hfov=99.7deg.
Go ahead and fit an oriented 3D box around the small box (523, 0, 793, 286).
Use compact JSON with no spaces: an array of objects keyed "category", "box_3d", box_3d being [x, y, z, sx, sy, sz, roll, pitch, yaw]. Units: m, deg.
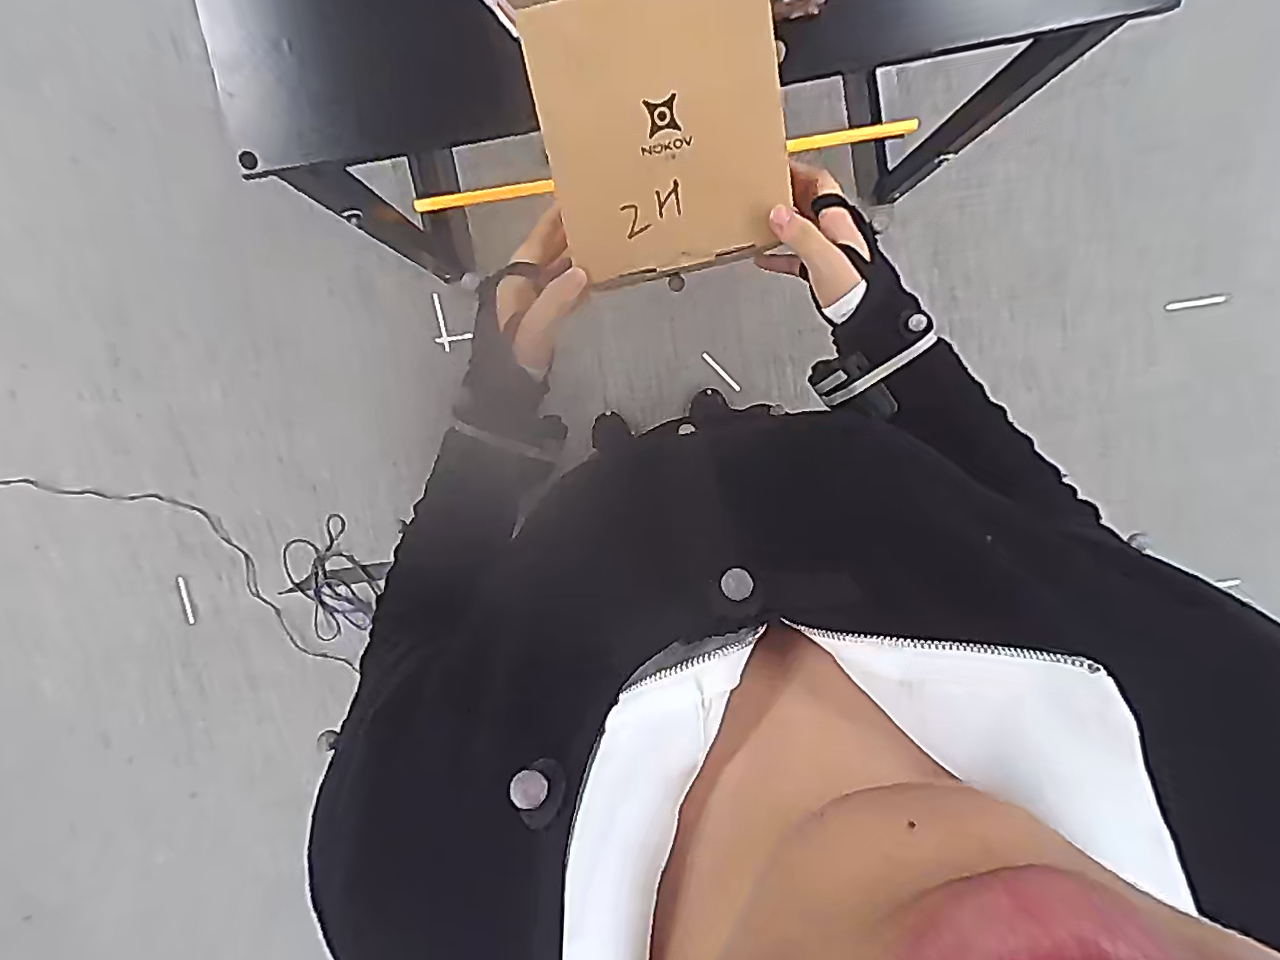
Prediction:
[{"category":"small box","box_3d":[0.016,-0.271,0.451,0.168,0.176,0.179,-11,107,4]}]
